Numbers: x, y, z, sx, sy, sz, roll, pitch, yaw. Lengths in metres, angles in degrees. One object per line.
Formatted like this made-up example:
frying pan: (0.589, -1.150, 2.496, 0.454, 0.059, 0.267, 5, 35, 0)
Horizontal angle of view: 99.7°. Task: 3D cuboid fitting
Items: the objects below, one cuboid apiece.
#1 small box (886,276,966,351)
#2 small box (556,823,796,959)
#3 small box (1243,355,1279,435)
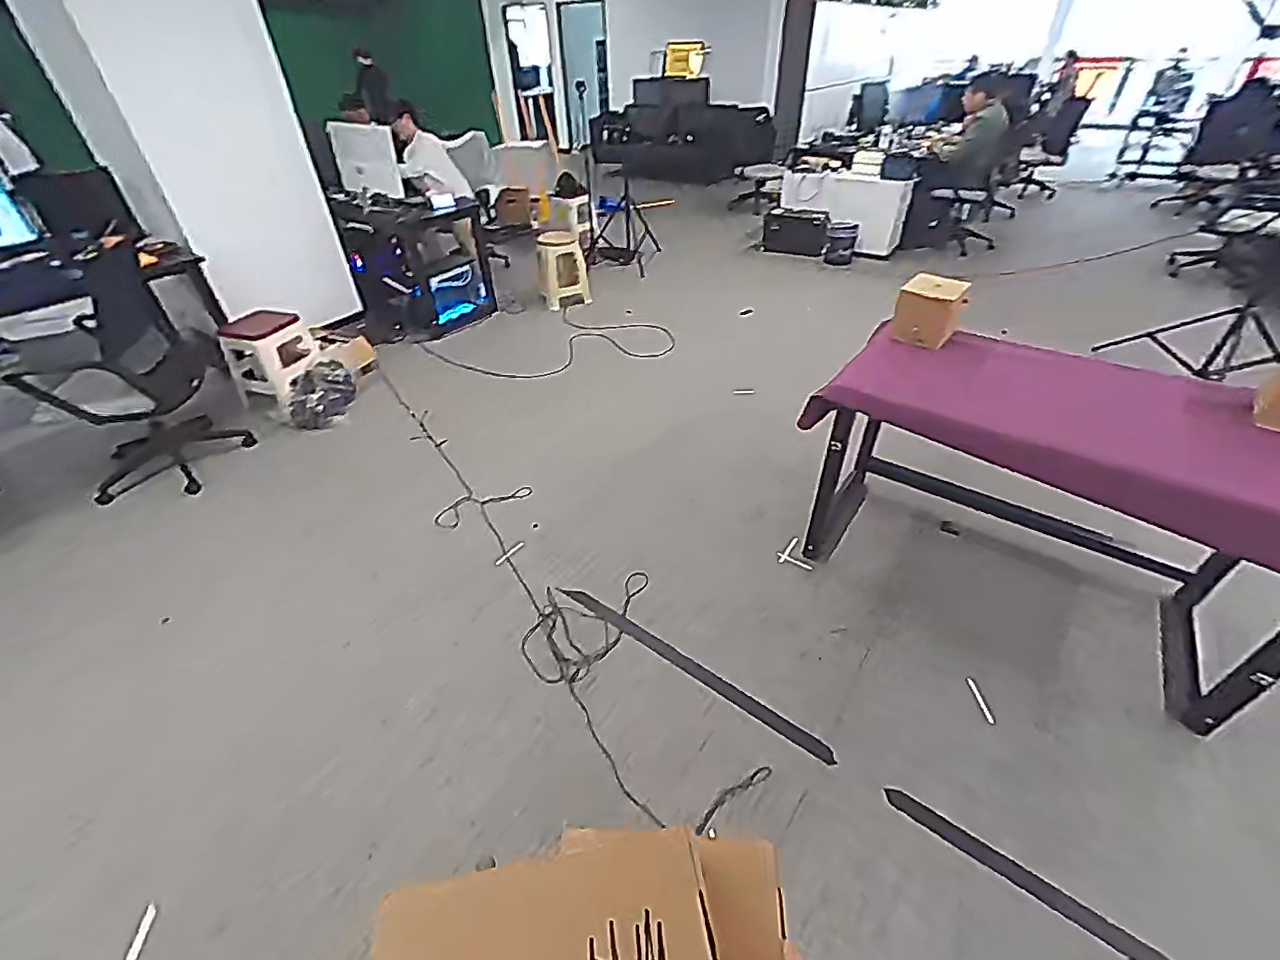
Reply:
small box: (0.940, -0.553, 1.791, 0.168, 0.176, 0.179, 27, 49, 31)
small box: (0.029, 0.402, 0.451, 0.179, 0.176, 0.168, 2, 51, 6)
small box: (1.669, -0.216, 1.349, 0.168, 0.176, 0.179, 28, 52, 31)
